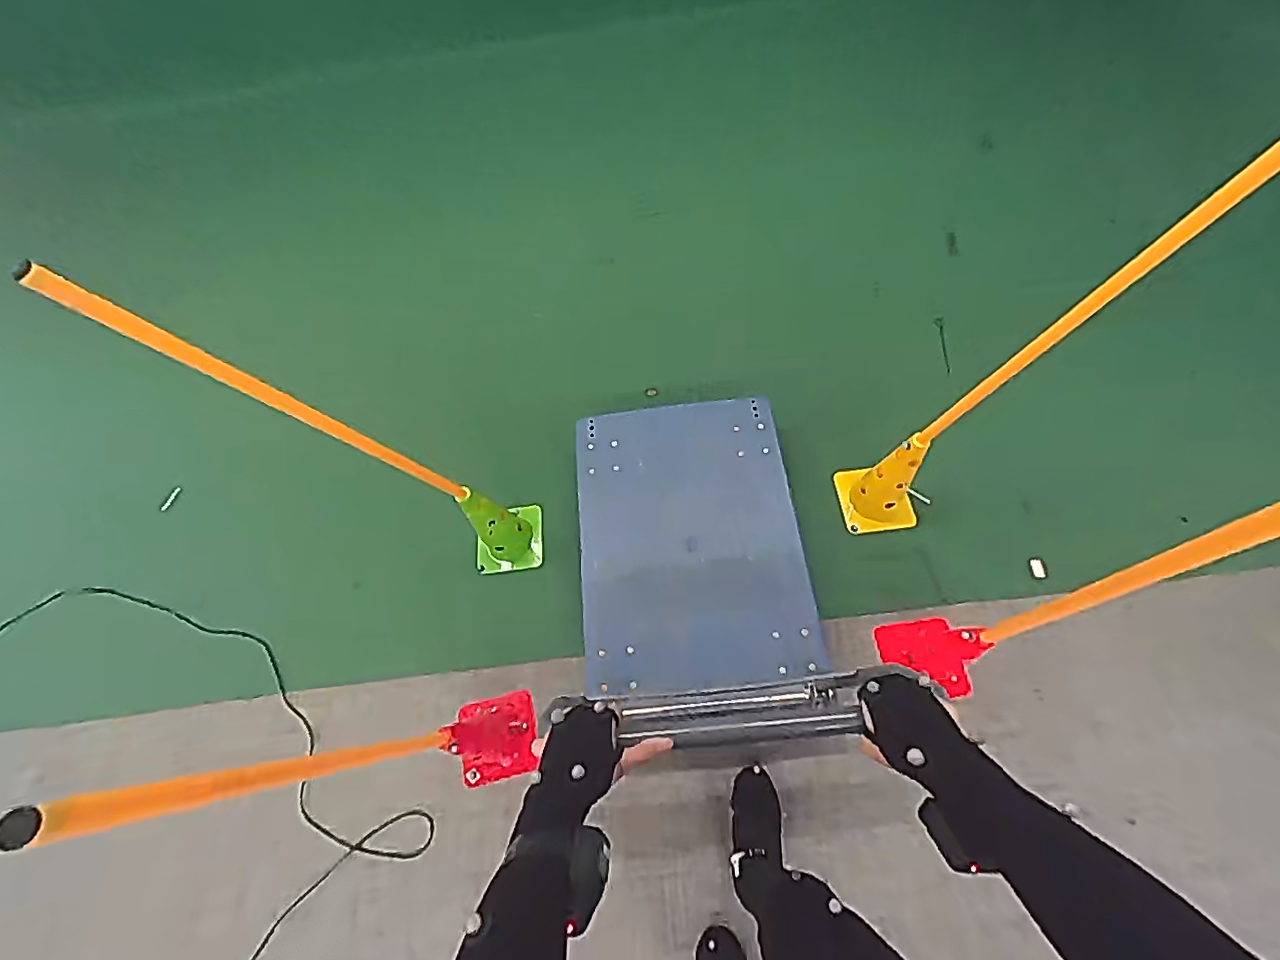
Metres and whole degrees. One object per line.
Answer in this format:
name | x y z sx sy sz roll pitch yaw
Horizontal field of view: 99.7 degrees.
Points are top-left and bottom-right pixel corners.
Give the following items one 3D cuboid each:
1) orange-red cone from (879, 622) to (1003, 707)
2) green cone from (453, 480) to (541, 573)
orange-red cone | 0.713 0.390 1.226 0.198 0.360 0.199 -7 62 2
green cone | -0.414 0.100 1.477 0.200 0.368 0.202 -8 63 3
